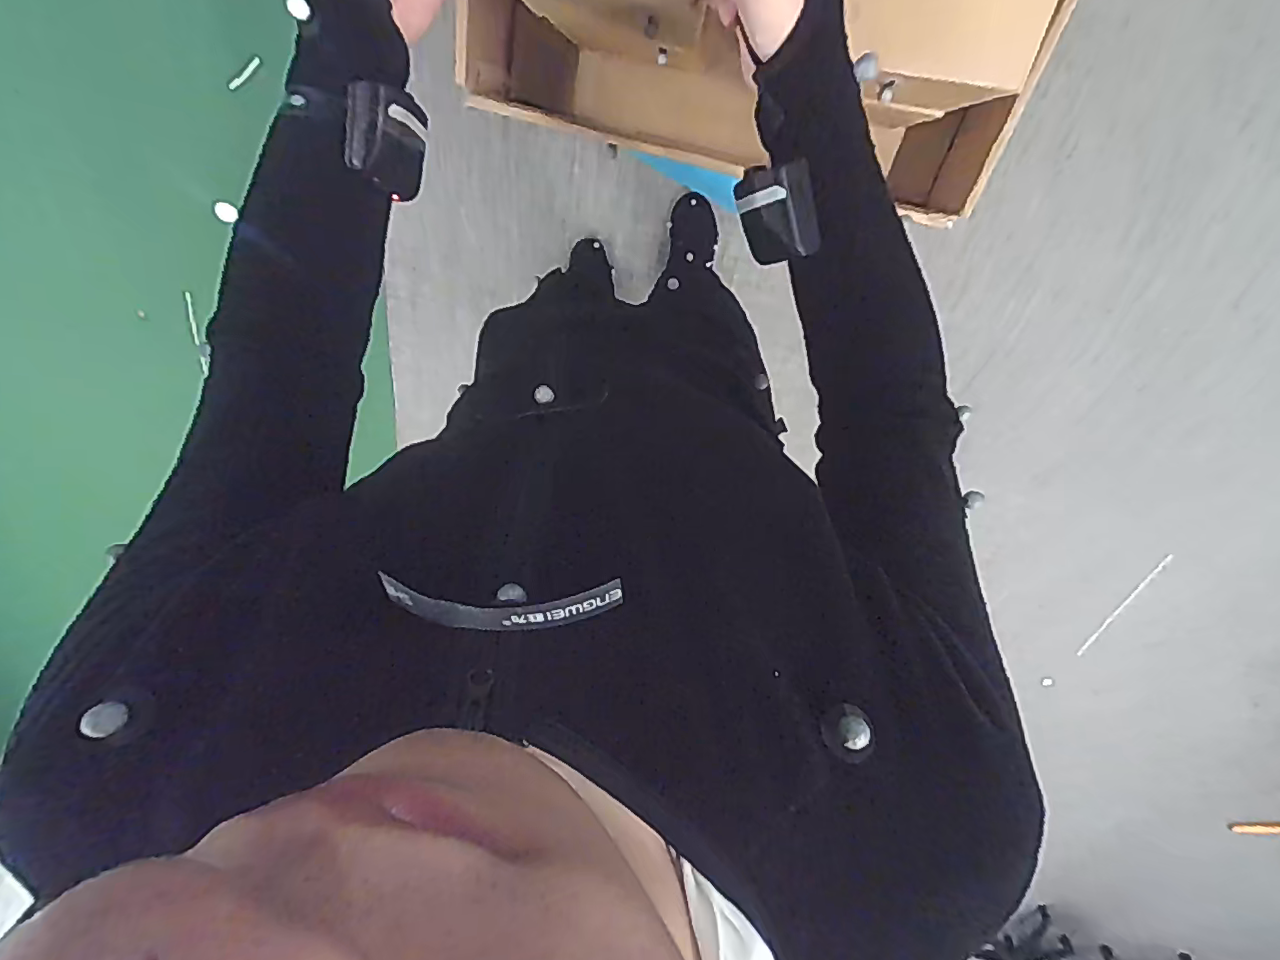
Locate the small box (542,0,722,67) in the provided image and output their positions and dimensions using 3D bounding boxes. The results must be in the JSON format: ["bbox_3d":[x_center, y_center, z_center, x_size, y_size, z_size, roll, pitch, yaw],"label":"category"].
[{"bbox_3d":[0.008,-0.575,0.588,0.179,0.176,0.168,13,121,0],"label":"small box"}]

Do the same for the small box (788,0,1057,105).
[{"bbox_3d":[0.230,-0.424,0.445,0.179,0.176,0.168,11,121,3],"label":"small box"}]
